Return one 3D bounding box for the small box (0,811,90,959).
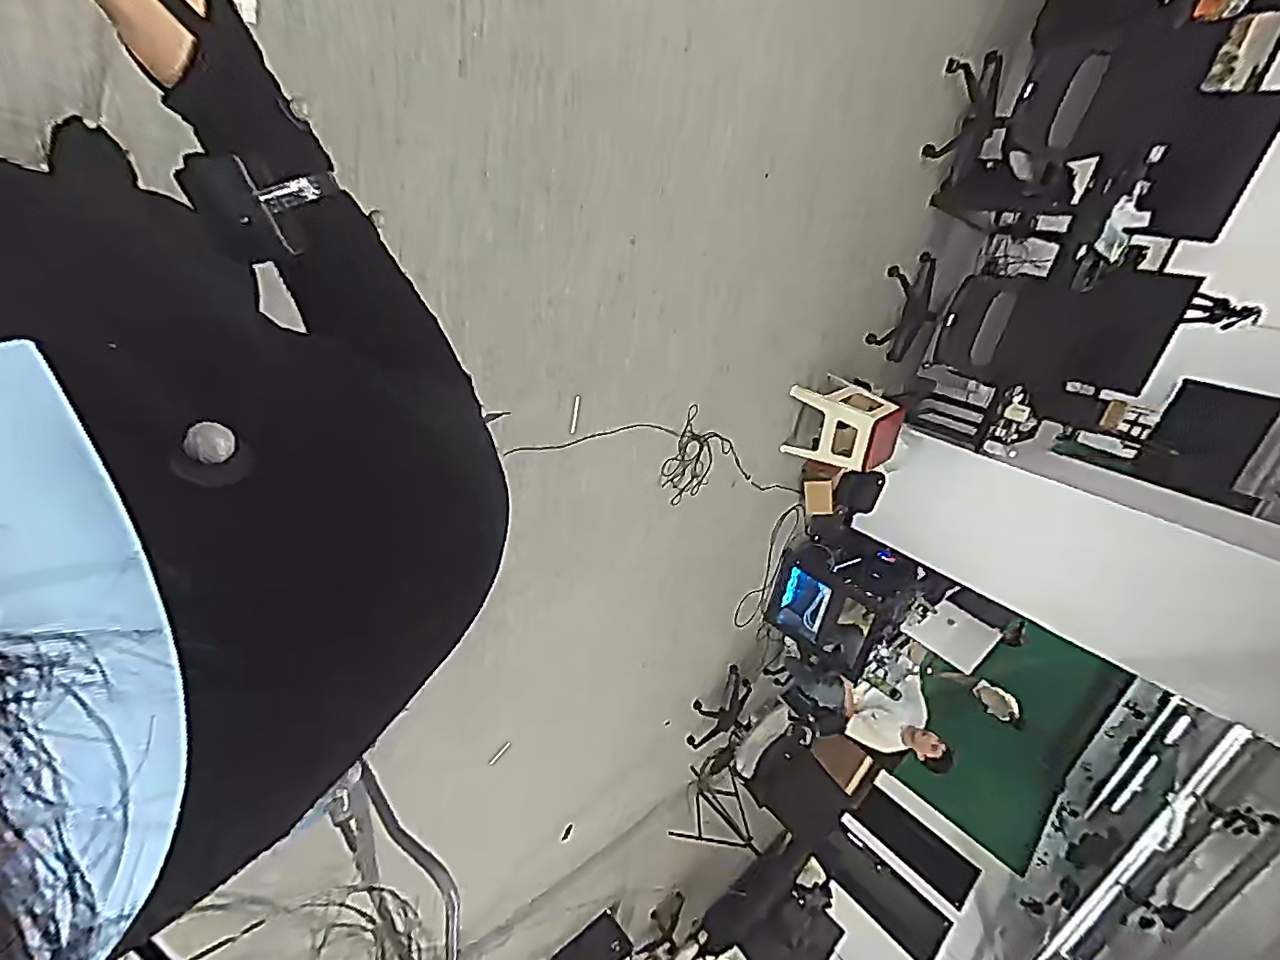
[{"bbox_3d":[-1.268,0.842,1.122,0.168,0.176,0.179,-9,120,-44],"label":"small box"}]
